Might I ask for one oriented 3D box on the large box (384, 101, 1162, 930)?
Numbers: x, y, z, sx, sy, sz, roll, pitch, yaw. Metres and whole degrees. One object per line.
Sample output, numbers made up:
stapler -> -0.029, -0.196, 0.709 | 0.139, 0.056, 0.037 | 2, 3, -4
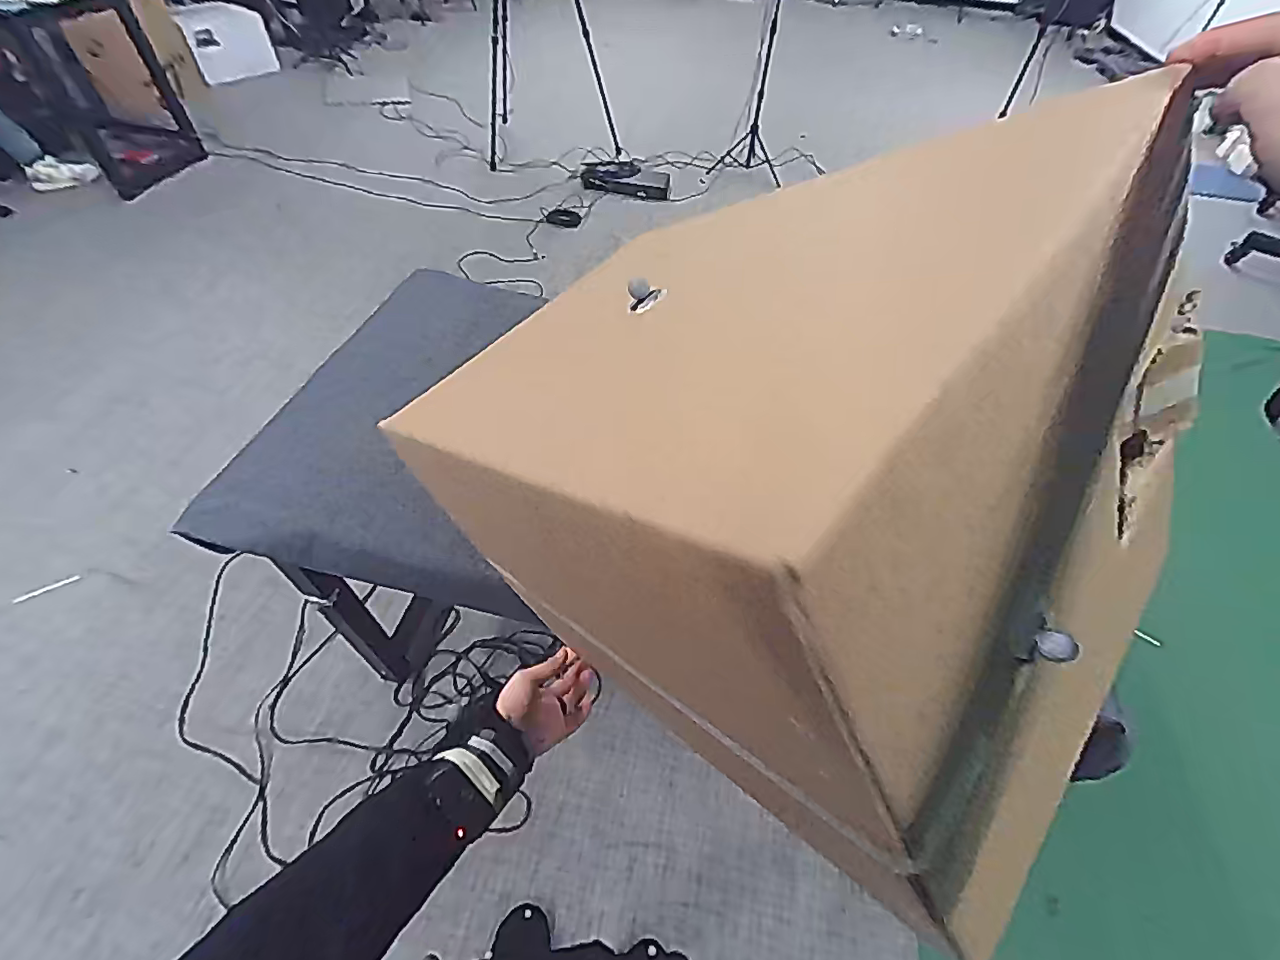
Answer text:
large box -> 0.080, 0.006, 0.410 | 0.320, 0.320, 0.408 | -46, 34, -23
